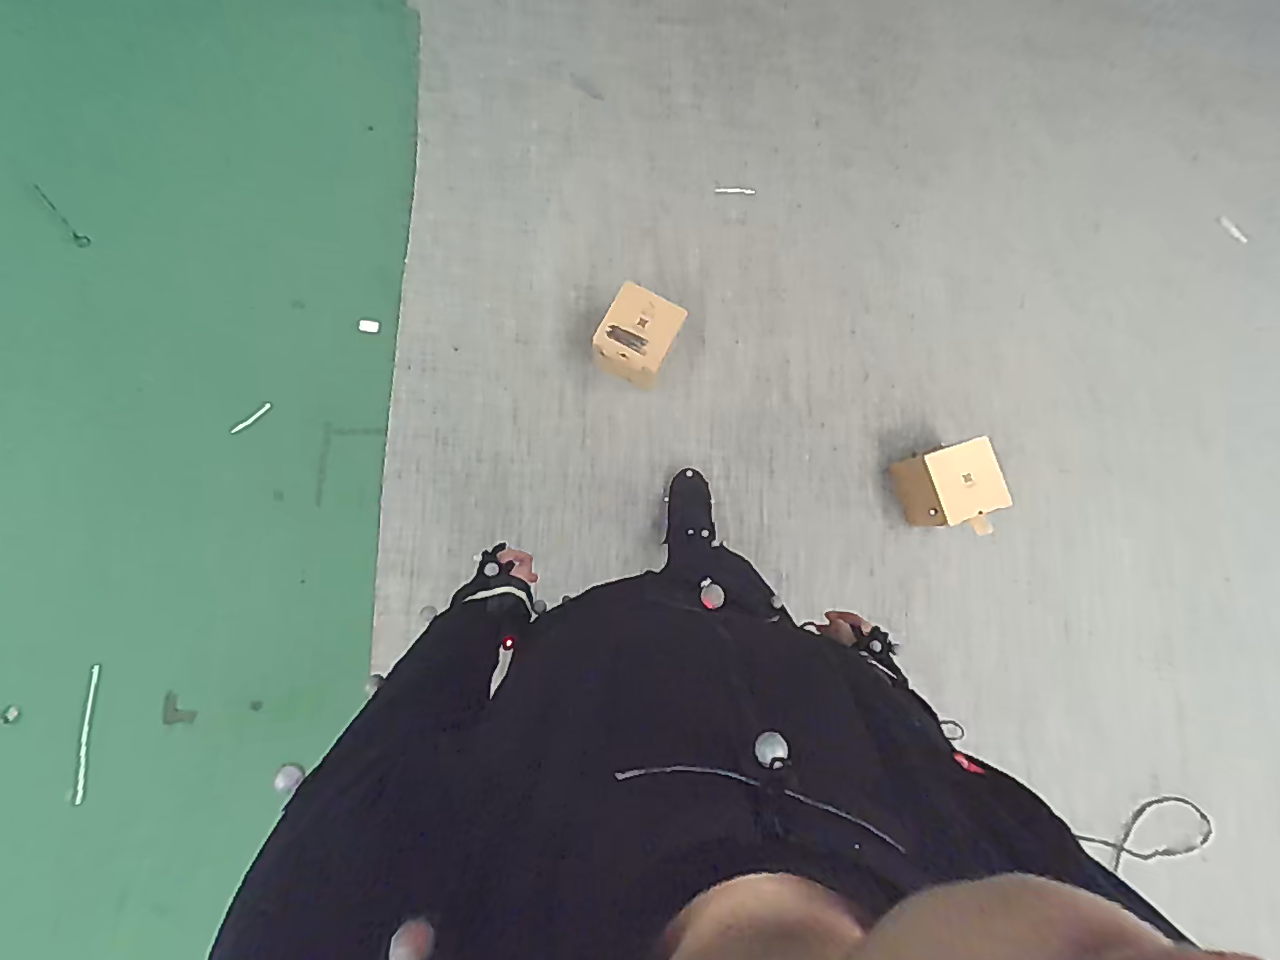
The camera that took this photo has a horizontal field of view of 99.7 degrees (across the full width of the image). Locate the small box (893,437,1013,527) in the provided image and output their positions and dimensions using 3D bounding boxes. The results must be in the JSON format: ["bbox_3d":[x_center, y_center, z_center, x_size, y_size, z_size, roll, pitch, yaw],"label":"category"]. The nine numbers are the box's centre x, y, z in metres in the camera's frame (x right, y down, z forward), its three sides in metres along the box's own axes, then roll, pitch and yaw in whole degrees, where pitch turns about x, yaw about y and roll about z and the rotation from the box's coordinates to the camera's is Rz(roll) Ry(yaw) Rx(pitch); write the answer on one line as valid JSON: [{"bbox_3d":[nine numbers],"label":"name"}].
[{"bbox_3d":[0.757,0.011,1.330,0.168,0.176,0.179,-18,86,-4],"label":"small box"}]
